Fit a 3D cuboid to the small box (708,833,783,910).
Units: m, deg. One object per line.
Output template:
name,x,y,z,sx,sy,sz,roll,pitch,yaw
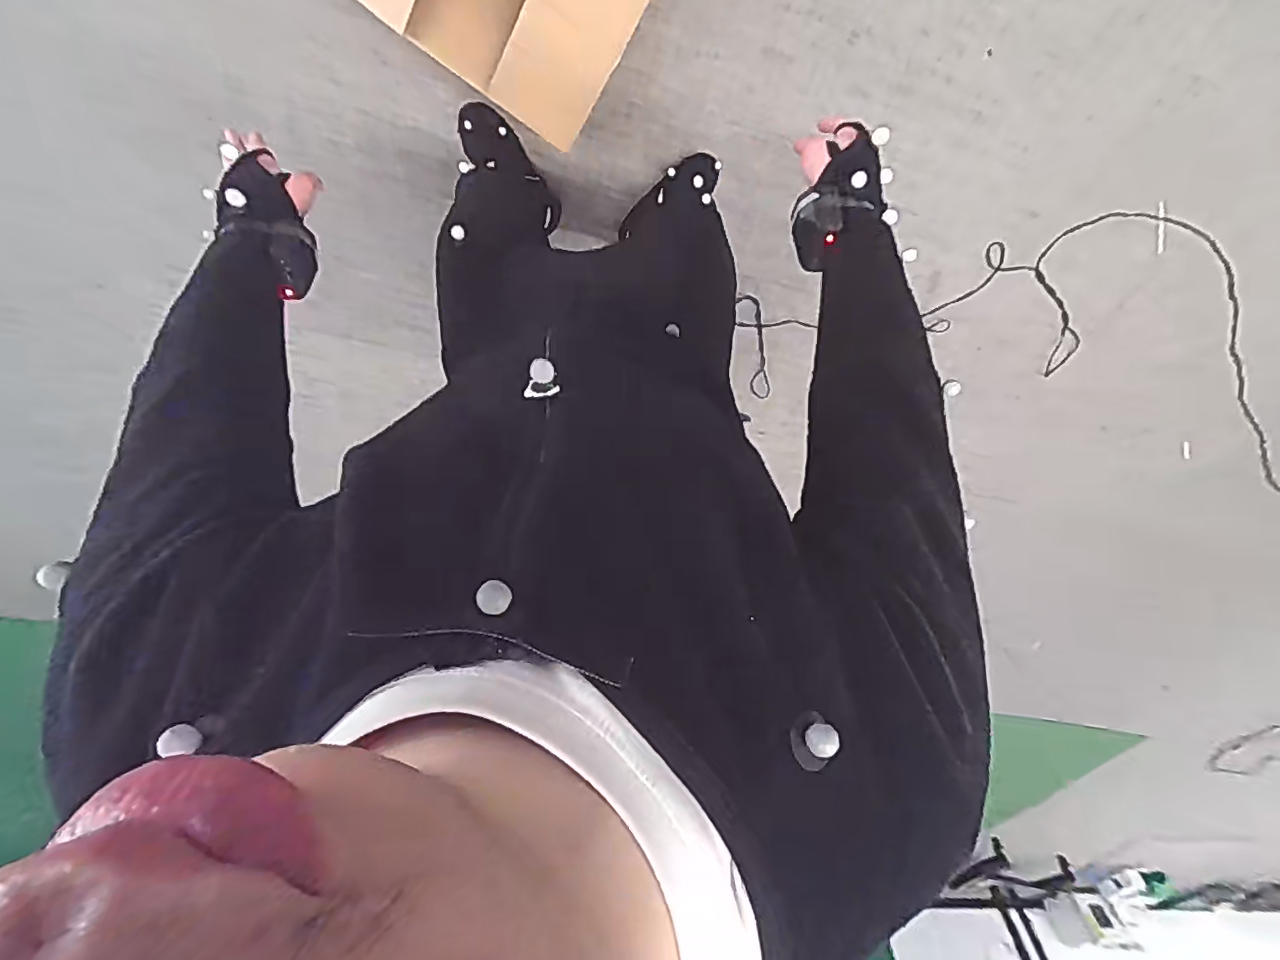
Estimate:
small box,0.336,1.277,1.767,0.168,0.176,0.179,13,126,-15
